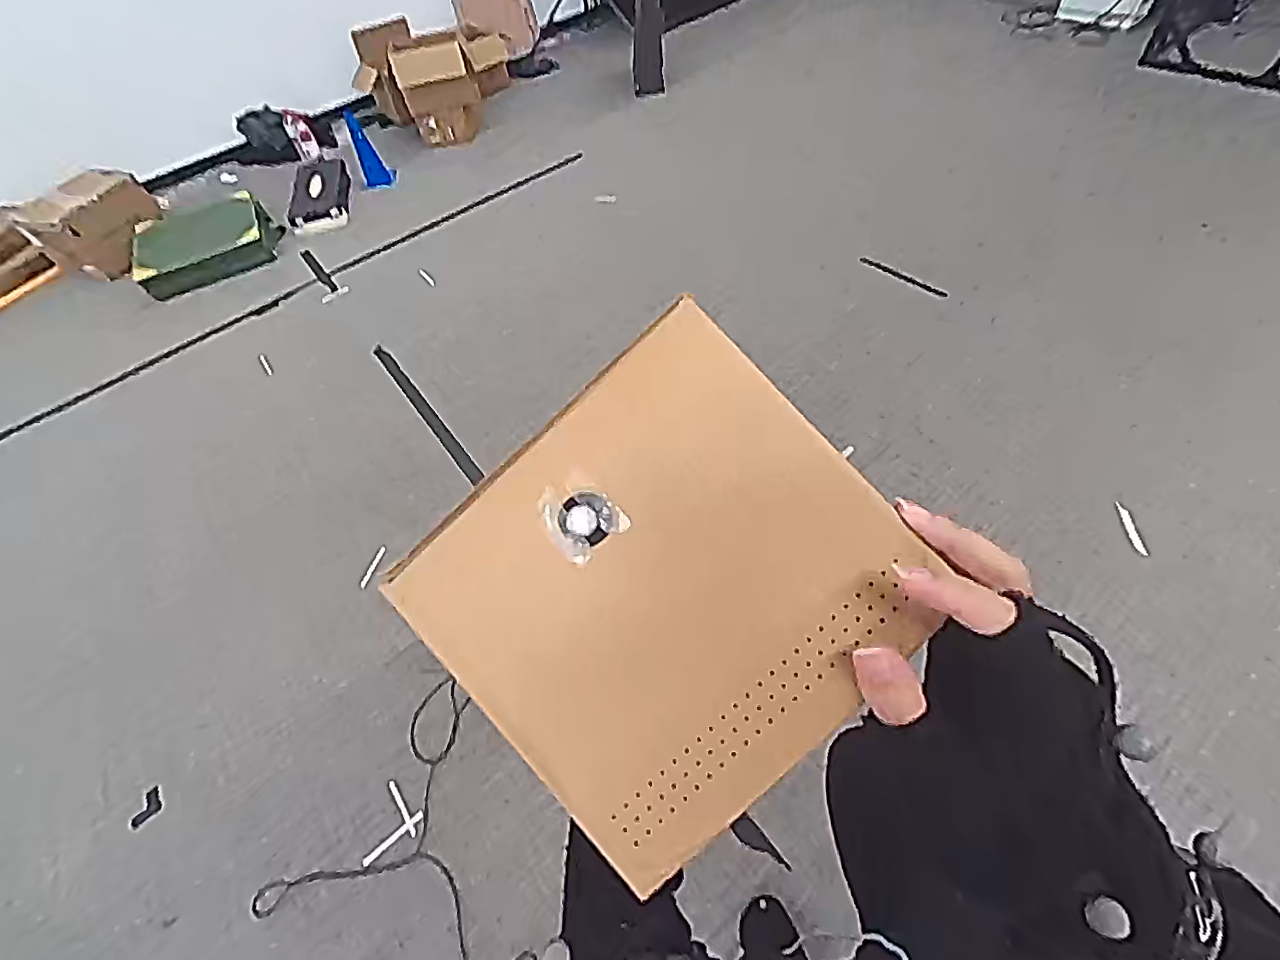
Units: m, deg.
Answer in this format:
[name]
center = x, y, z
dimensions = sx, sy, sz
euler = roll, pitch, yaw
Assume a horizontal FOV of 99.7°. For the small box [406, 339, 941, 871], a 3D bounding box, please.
[small box]
center = 0.019, 0.059, 0.307
dimensions = 0.179, 0.168, 0.176
euler = -43, 85, 2
